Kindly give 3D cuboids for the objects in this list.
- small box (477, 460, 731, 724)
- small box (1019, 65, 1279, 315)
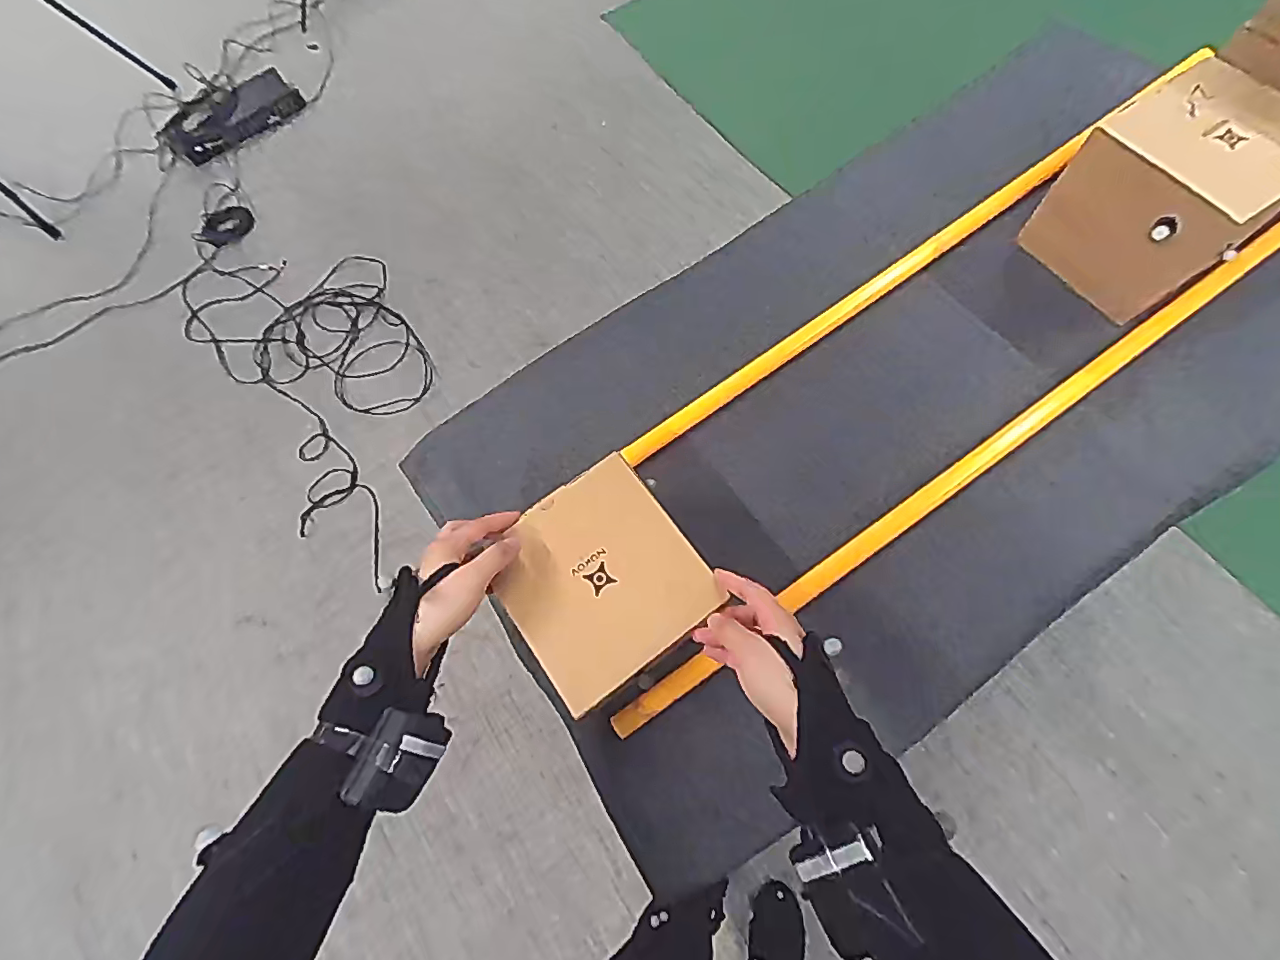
[{"bbox_3d":[-0.028,0.115,0.551,0.168,0.176,0.179,-36,71,-9],"label":"small box"},{"bbox_3d":[0.610,-0.322,0.635,0.168,0.176,0.179,-32,70,-5],"label":"small box"}]
